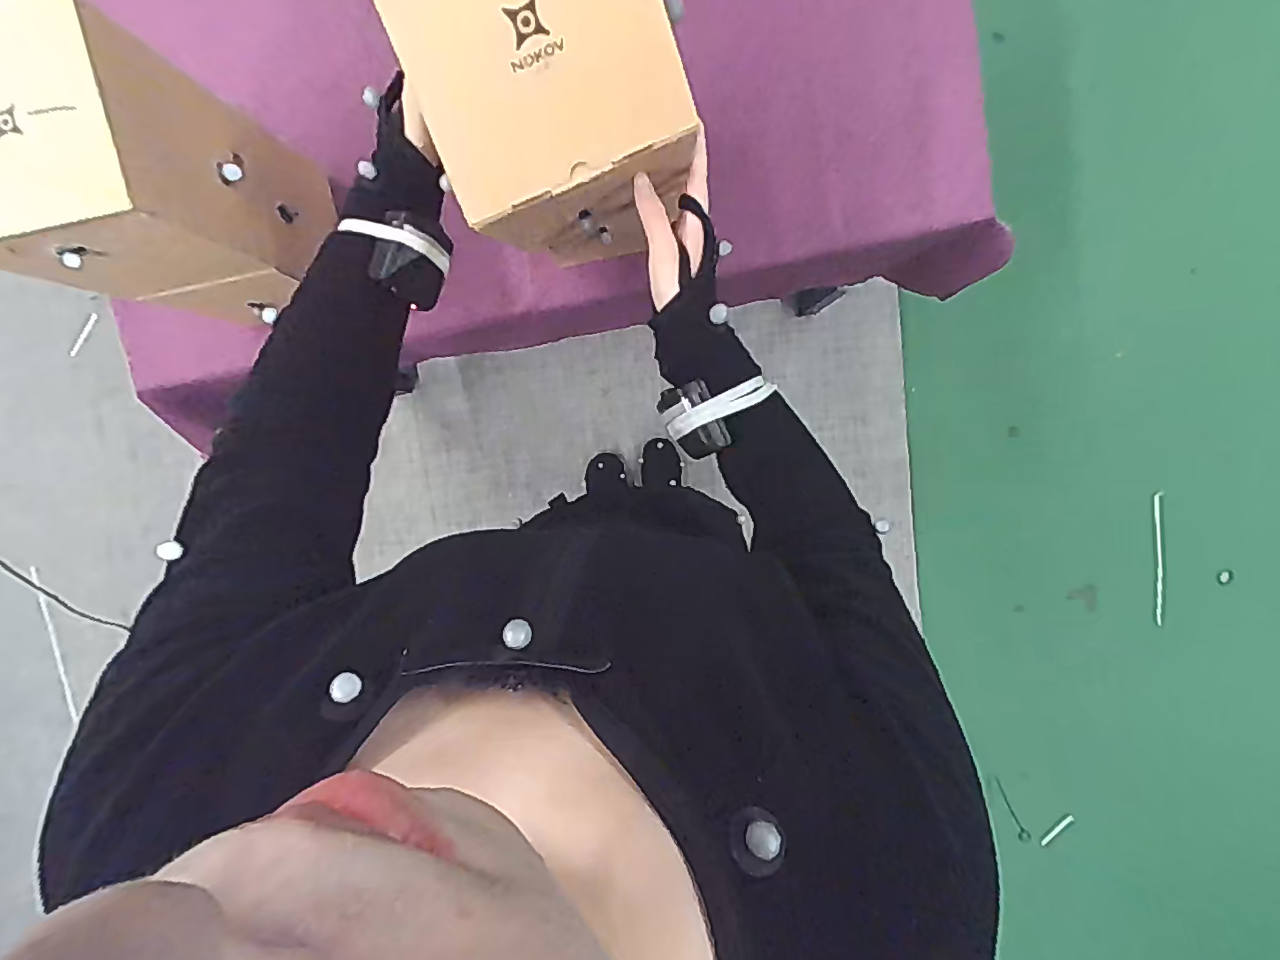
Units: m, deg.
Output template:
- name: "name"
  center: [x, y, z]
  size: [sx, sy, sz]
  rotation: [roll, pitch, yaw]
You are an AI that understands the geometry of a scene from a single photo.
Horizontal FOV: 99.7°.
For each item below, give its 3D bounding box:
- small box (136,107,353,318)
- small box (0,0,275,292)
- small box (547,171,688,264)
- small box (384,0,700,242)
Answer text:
- name: "small box"
  center: [-0.485, -0.305, 0.661]
  size: [0.168, 0.176, 0.179]
  rotation: [-10, 96, 2]
- name: "small box"
  center: [-0.490, -0.286, 0.497]
  size: [0.179, 0.176, 0.168]
  rotation: [-10, 96, 2]
- name: "small box"
  center: [-0.043, -0.374, 0.642]
  size: [0.179, 0.176, 0.168]
  rotation: [-11, 96, 4]
- name: "small box"
  center: [-0.064, -0.303, 0.409]
  size: [0.168, 0.176, 0.179]
  rotation: [-19, 107, 8]
